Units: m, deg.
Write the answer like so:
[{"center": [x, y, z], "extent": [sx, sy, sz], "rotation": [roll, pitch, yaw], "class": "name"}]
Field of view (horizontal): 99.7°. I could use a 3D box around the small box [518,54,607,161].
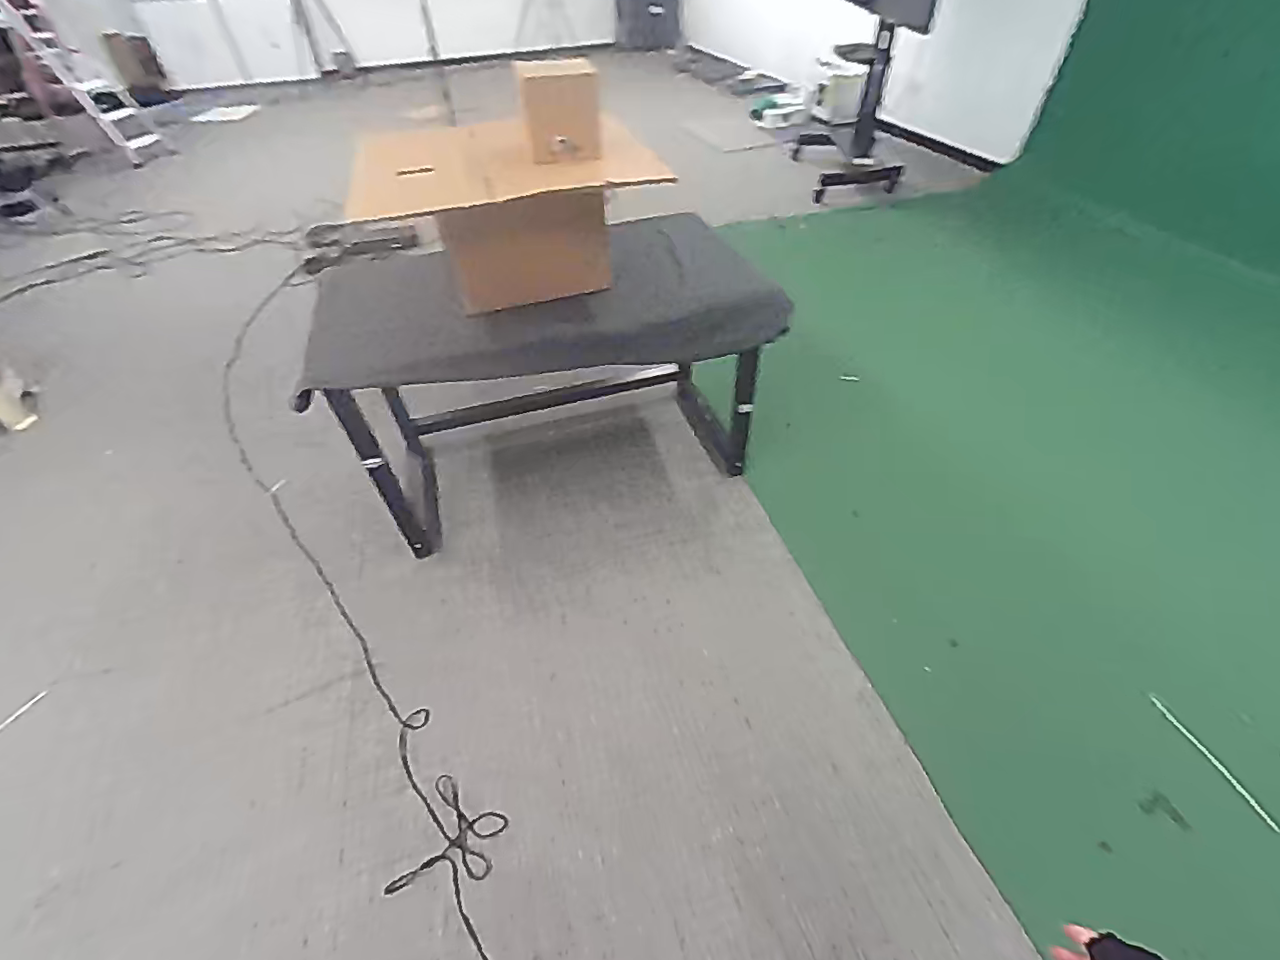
[{"center": [-0.176, -0.853, 1.239], "extent": [0.168, 0.176, 0.179], "rotation": [-12, 48, -10], "class": "small box"}]
